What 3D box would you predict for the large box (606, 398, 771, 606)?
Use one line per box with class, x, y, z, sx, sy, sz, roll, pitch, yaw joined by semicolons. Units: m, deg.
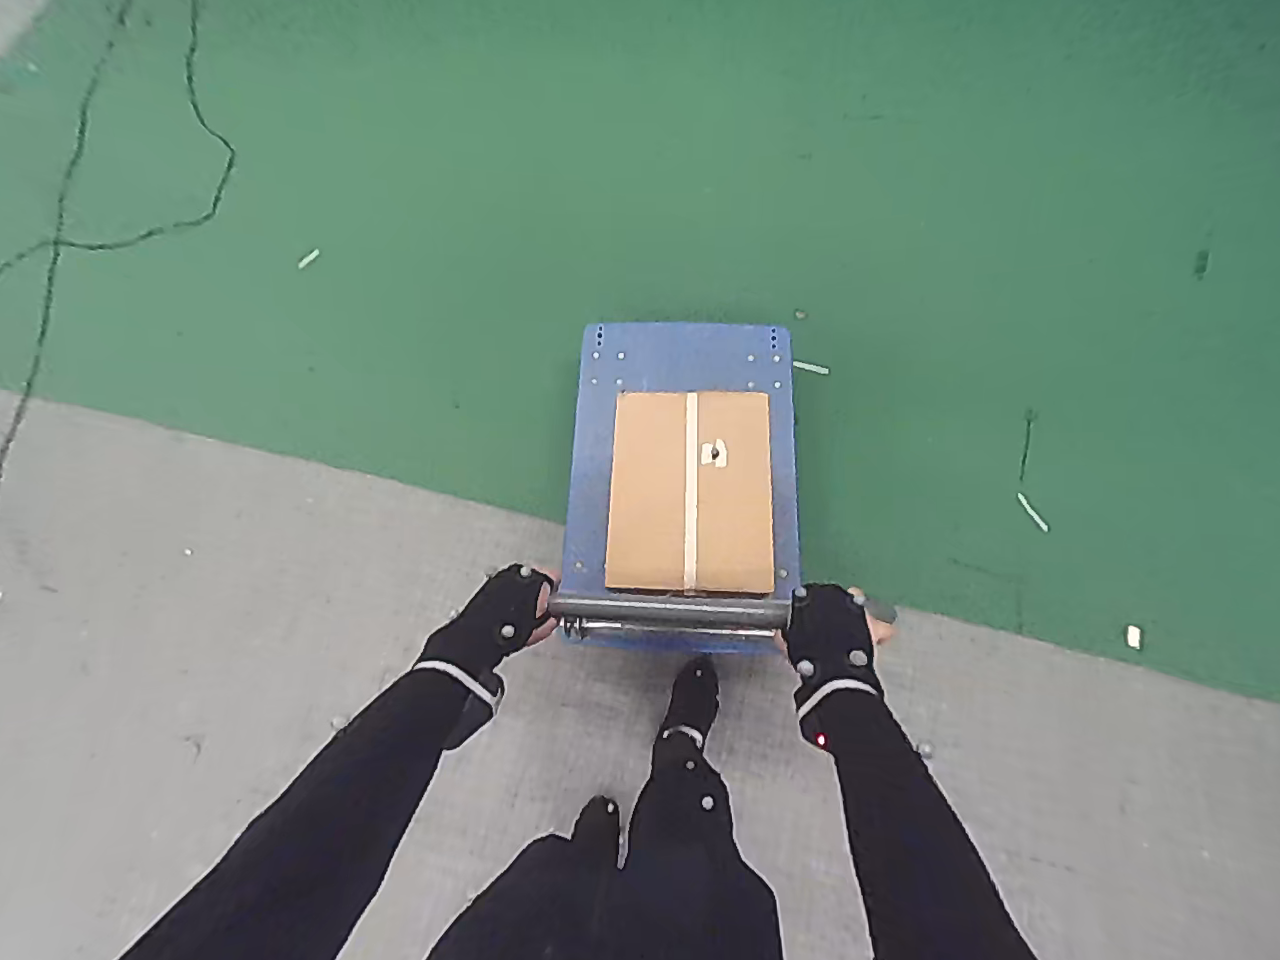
large box;0.105;0.066;1.209;0.320;0.320;0.408;1;71;4
